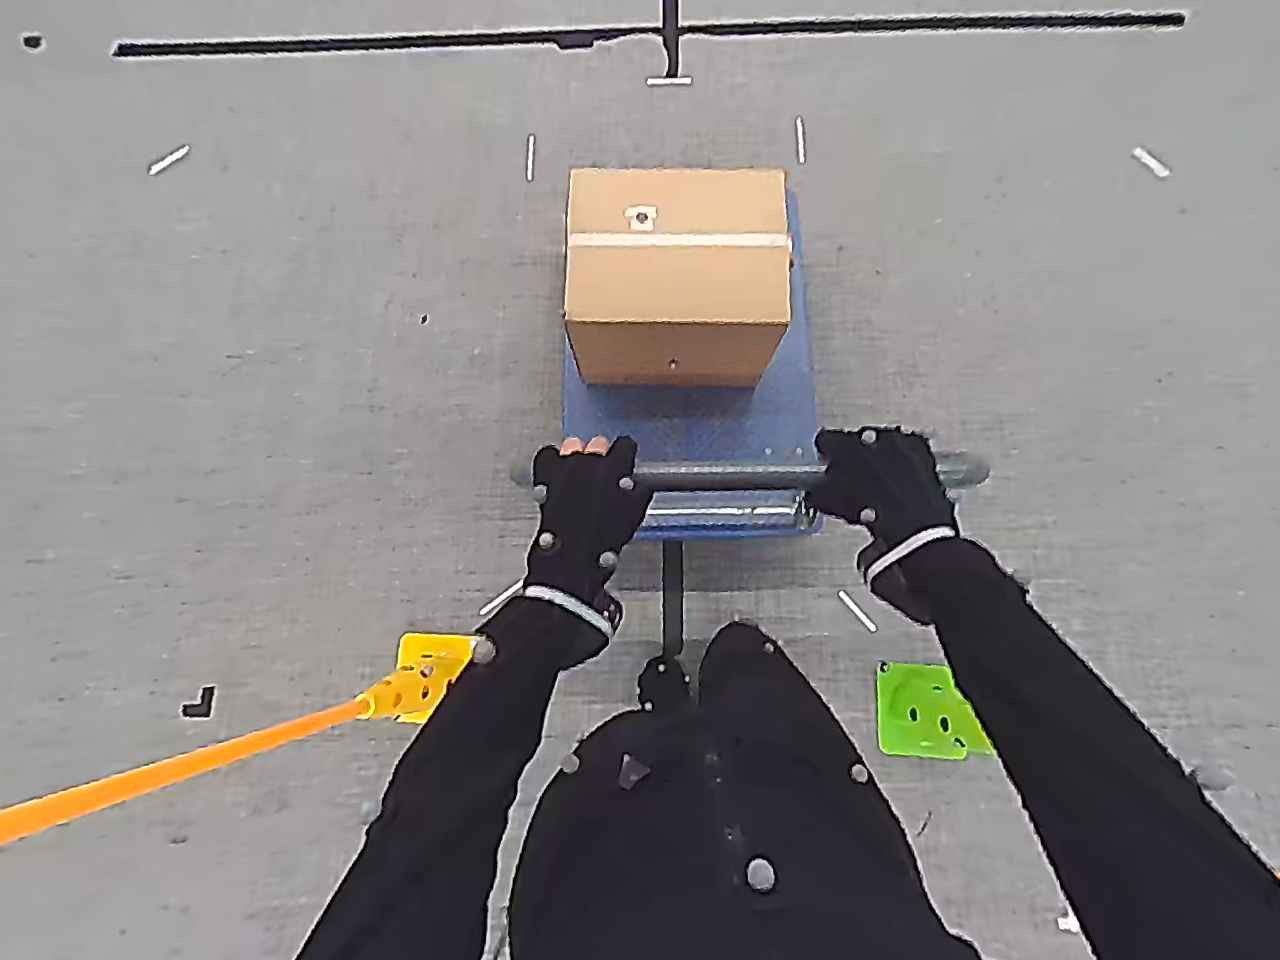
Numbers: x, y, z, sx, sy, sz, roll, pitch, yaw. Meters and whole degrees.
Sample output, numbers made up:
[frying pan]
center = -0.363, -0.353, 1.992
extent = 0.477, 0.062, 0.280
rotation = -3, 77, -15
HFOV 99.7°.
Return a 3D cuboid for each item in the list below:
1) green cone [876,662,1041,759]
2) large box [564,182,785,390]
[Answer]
[green cone]
center = 0.650, 0.493, 1.084
extent = 0.202, 0.368, 0.200
rotation = 4, 77, 0
[large box]
center = 0.068, -0.386, 1.144
extent = 0.408, 0.320, 0.320
rotation = 1, 78, 2
